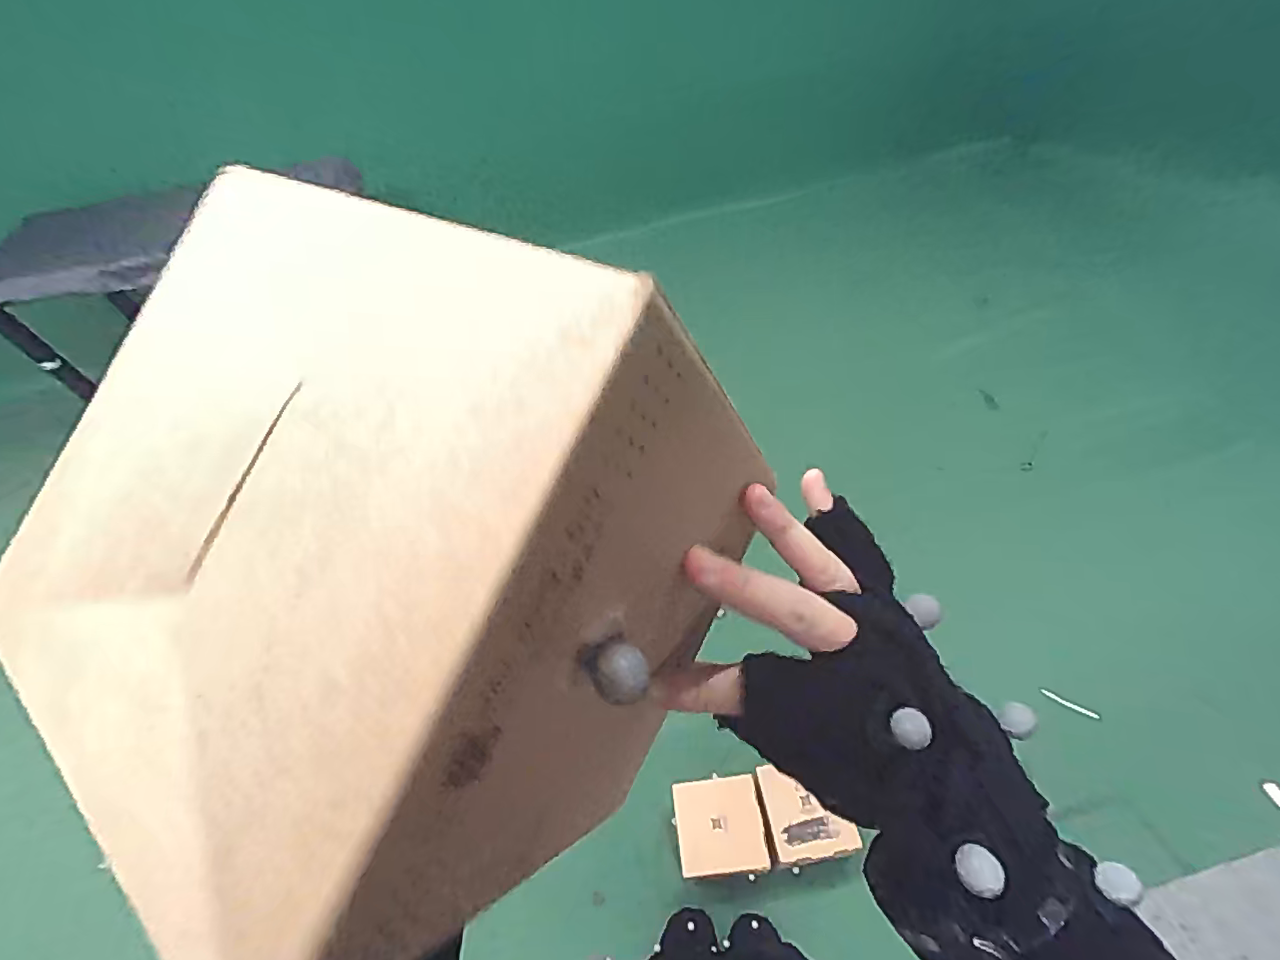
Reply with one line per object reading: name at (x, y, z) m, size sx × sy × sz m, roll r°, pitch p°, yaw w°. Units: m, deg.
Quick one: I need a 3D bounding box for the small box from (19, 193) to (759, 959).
small box at (-0.076, 0.019, 0.211) m, size 0.179 × 0.176 × 0.168 m, roll 24°, pitch 89°, yaw 24°
